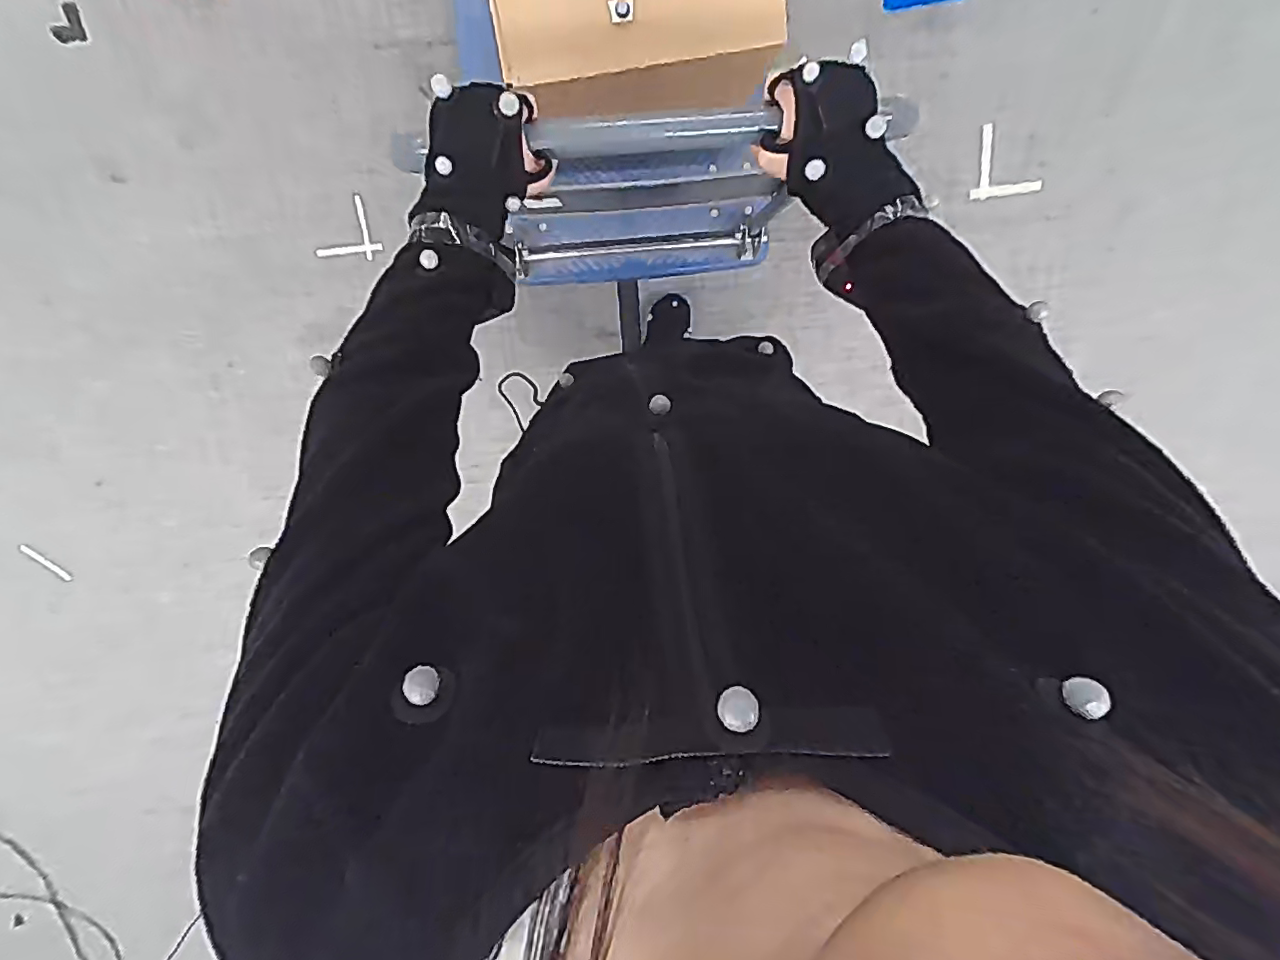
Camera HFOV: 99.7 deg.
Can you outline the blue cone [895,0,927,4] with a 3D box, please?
[{"bbox_3d":[0.622,-1.084,0.987,0.193,0.380,0.192,-9,106,0],"label":"blue cone"}]
